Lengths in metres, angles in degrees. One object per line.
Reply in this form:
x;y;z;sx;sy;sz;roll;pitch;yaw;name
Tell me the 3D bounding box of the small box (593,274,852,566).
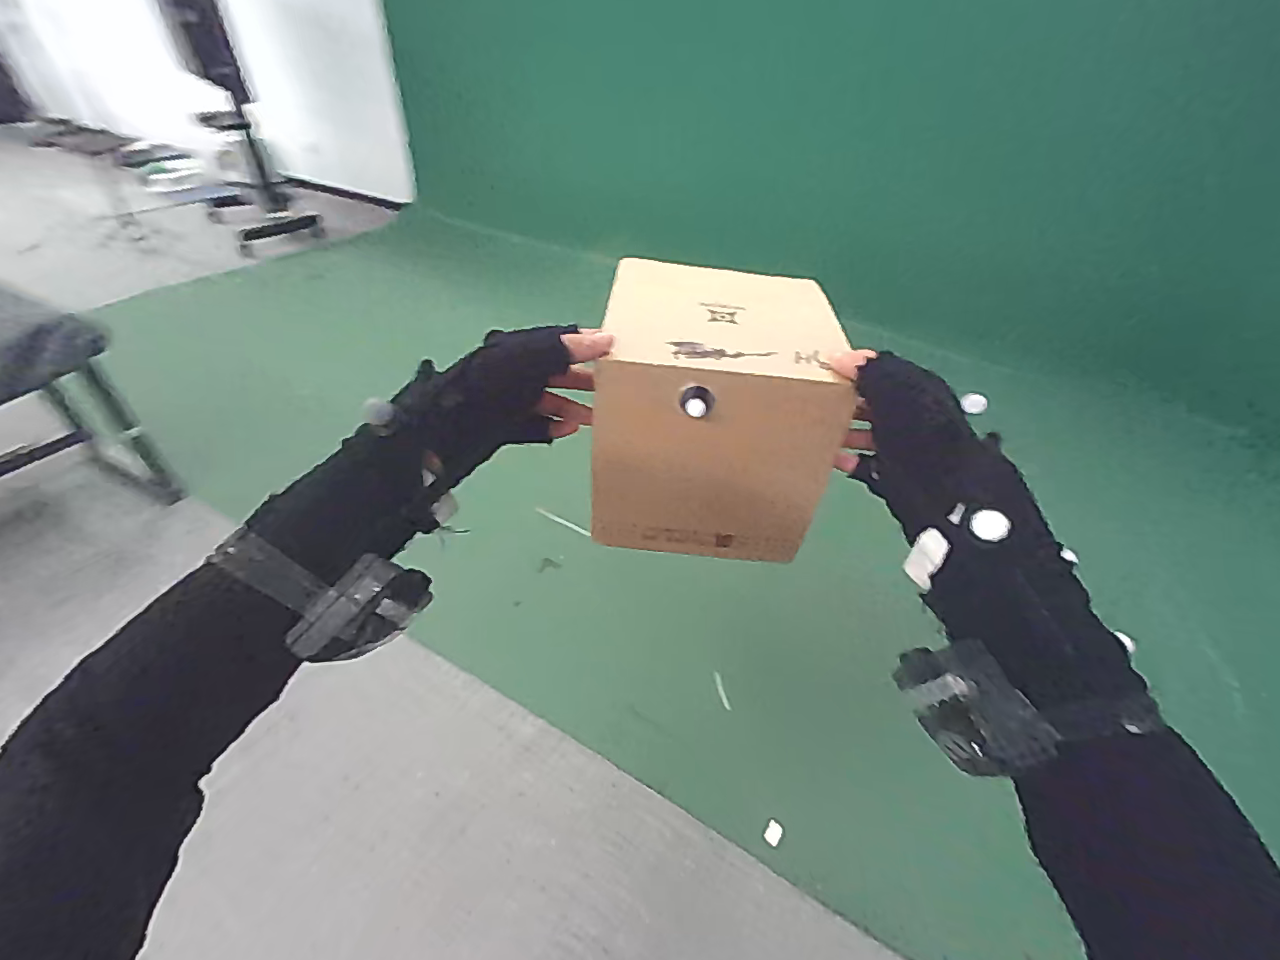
0.052;-0.054;0.453;0.168;0.176;0.179;5;39;0;small box
